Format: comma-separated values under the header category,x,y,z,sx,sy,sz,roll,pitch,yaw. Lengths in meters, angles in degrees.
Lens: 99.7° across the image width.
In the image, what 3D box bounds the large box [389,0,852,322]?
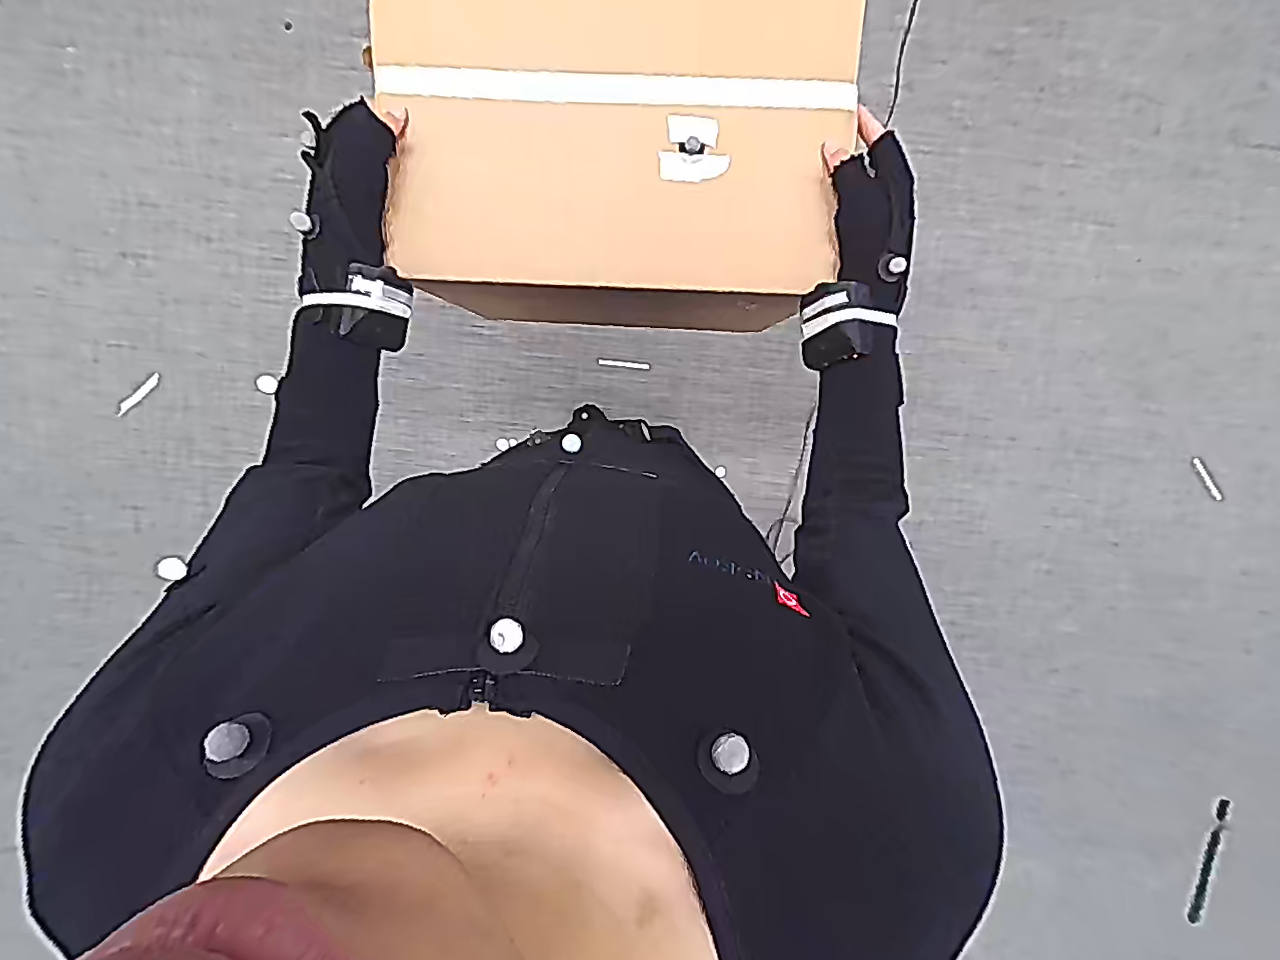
category,x,y,z,sx,sy,sz,roll,pitch,yaw
large box,-0.020,-0.360,0.622,0.408,0.320,0.320,2,100,-1
